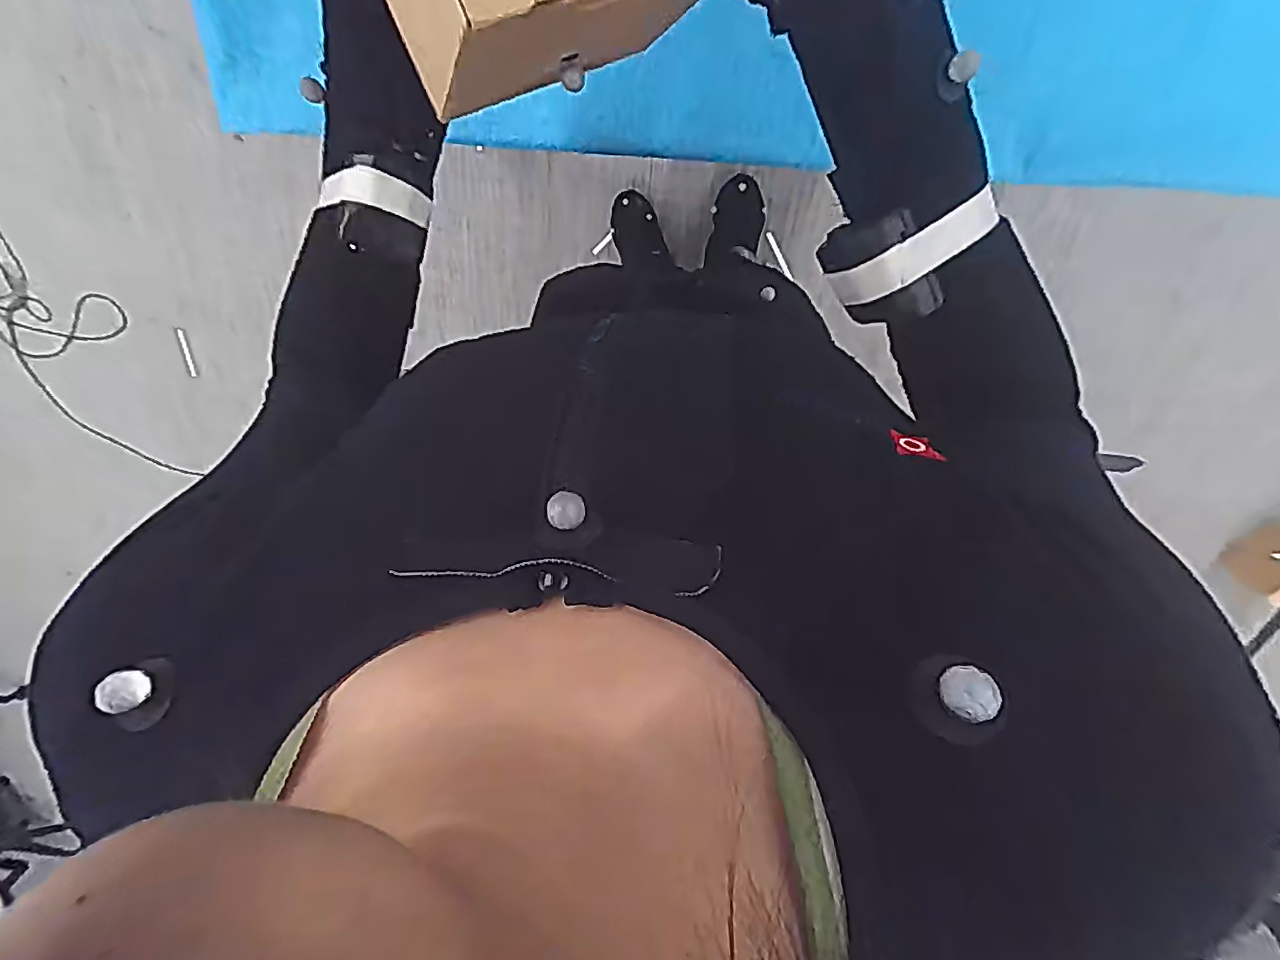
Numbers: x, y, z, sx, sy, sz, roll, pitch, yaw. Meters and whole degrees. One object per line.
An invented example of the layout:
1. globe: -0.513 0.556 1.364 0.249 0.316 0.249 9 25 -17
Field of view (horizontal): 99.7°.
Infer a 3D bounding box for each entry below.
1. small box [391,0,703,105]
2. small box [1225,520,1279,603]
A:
1. small box: -0.065 -0.328 0.277 0.168 0.176 0.179 -25 121 -11
2. small box: 1.806 0.238 1.489 0.168 0.176 0.179 20 123 -7
